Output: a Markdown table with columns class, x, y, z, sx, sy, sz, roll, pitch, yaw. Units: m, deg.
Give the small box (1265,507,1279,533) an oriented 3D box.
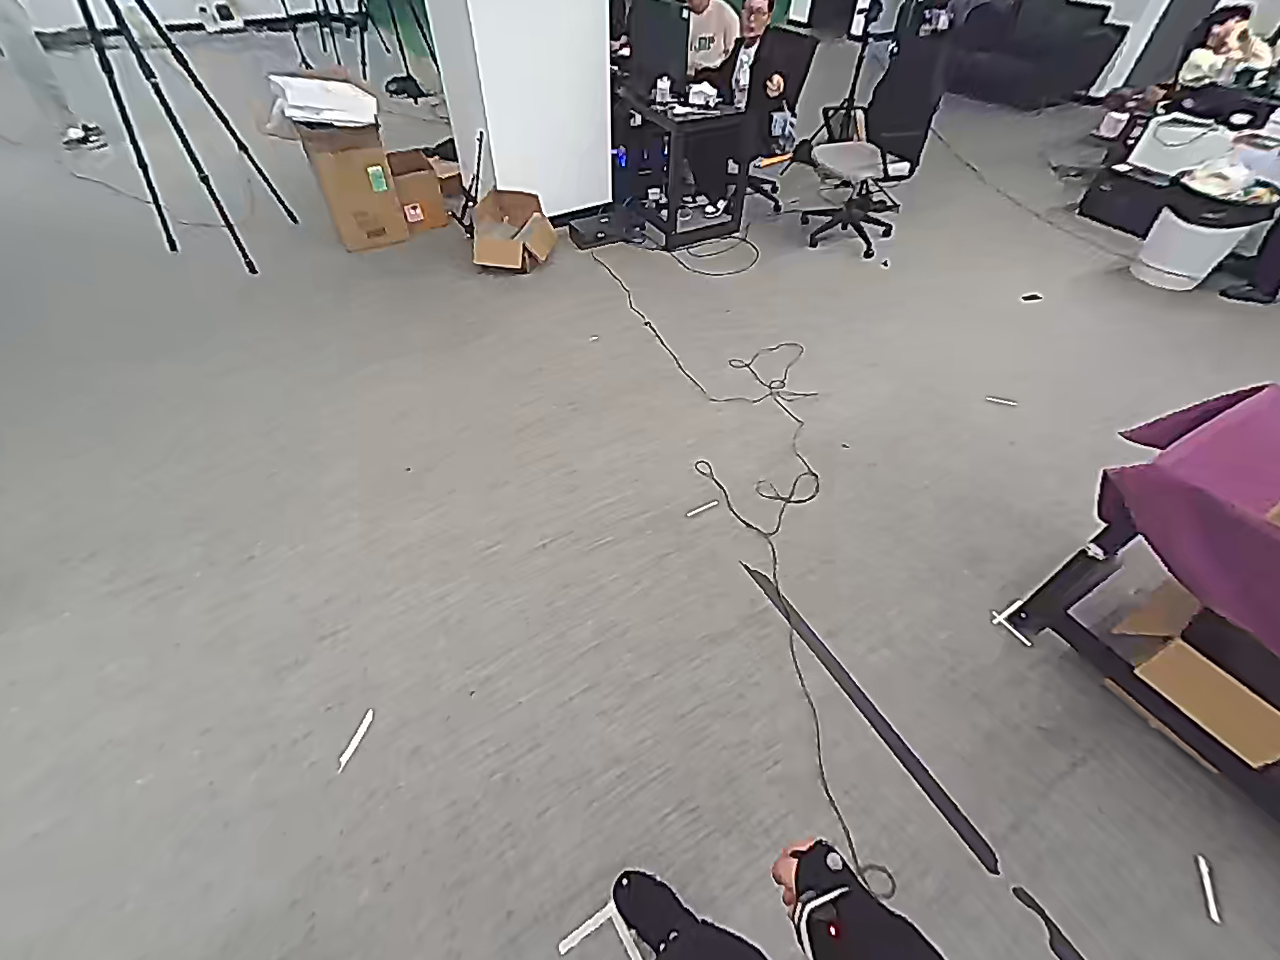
| class | x | y | z | sx | sy | sz | roll | pitch | yaw |
| --- | --- | --- | --- | --- | --- | --- | --- | --- | --- |
| small box | 1.431 | 0.064 | 1.069 | 0.168 | 0.176 | 0.179 | -24 | 53 | -21 |
